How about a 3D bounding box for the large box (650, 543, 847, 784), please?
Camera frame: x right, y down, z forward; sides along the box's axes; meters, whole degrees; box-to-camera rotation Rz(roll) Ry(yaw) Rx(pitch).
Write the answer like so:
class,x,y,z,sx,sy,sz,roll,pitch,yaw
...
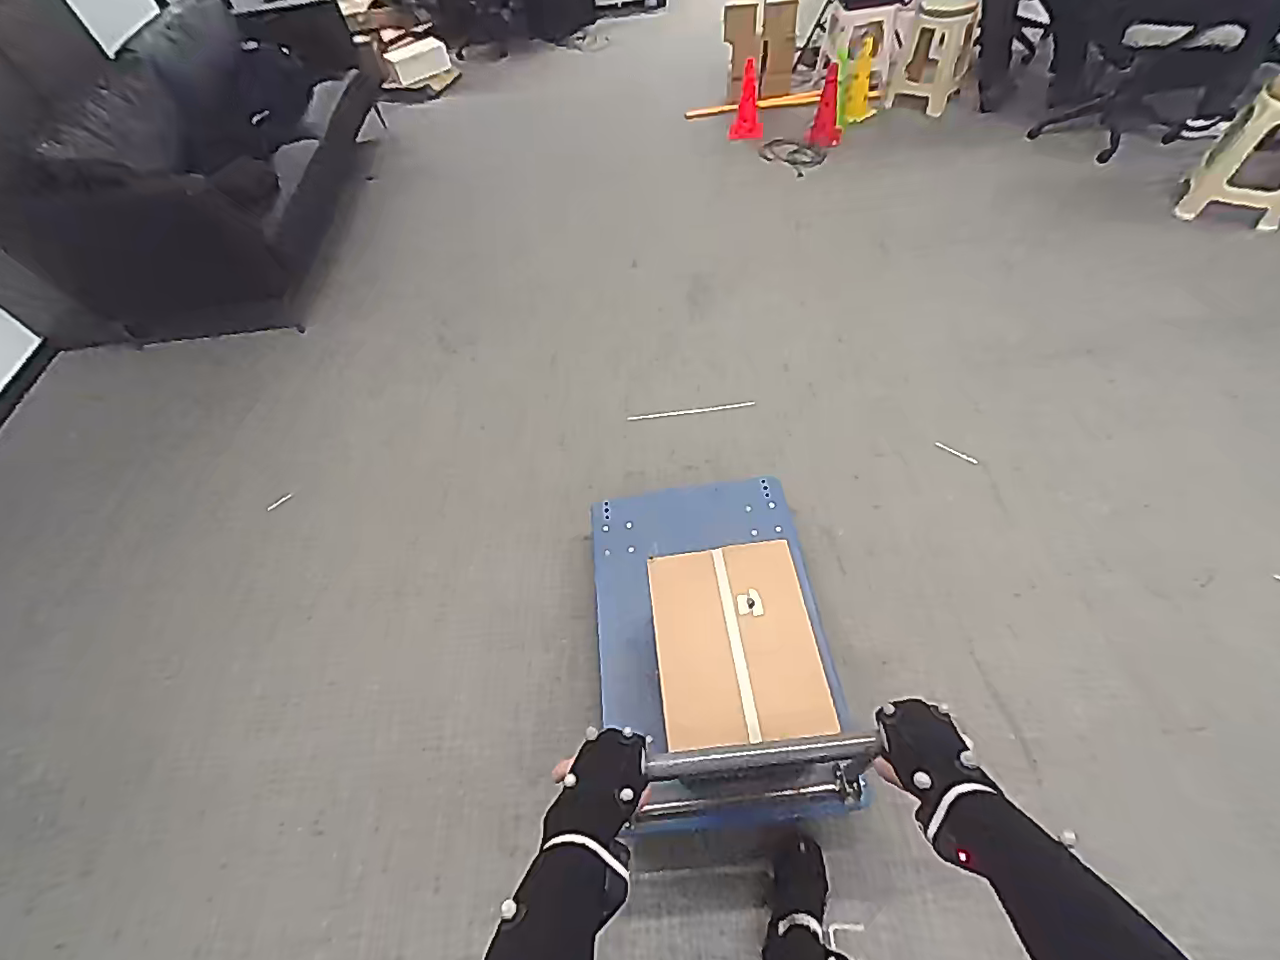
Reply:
class,x,y,z,sx,sy,sz,roll,pitch,yaw
large box,0.213,0.405,1.186,0.320,0.320,0.408,-8,53,1
